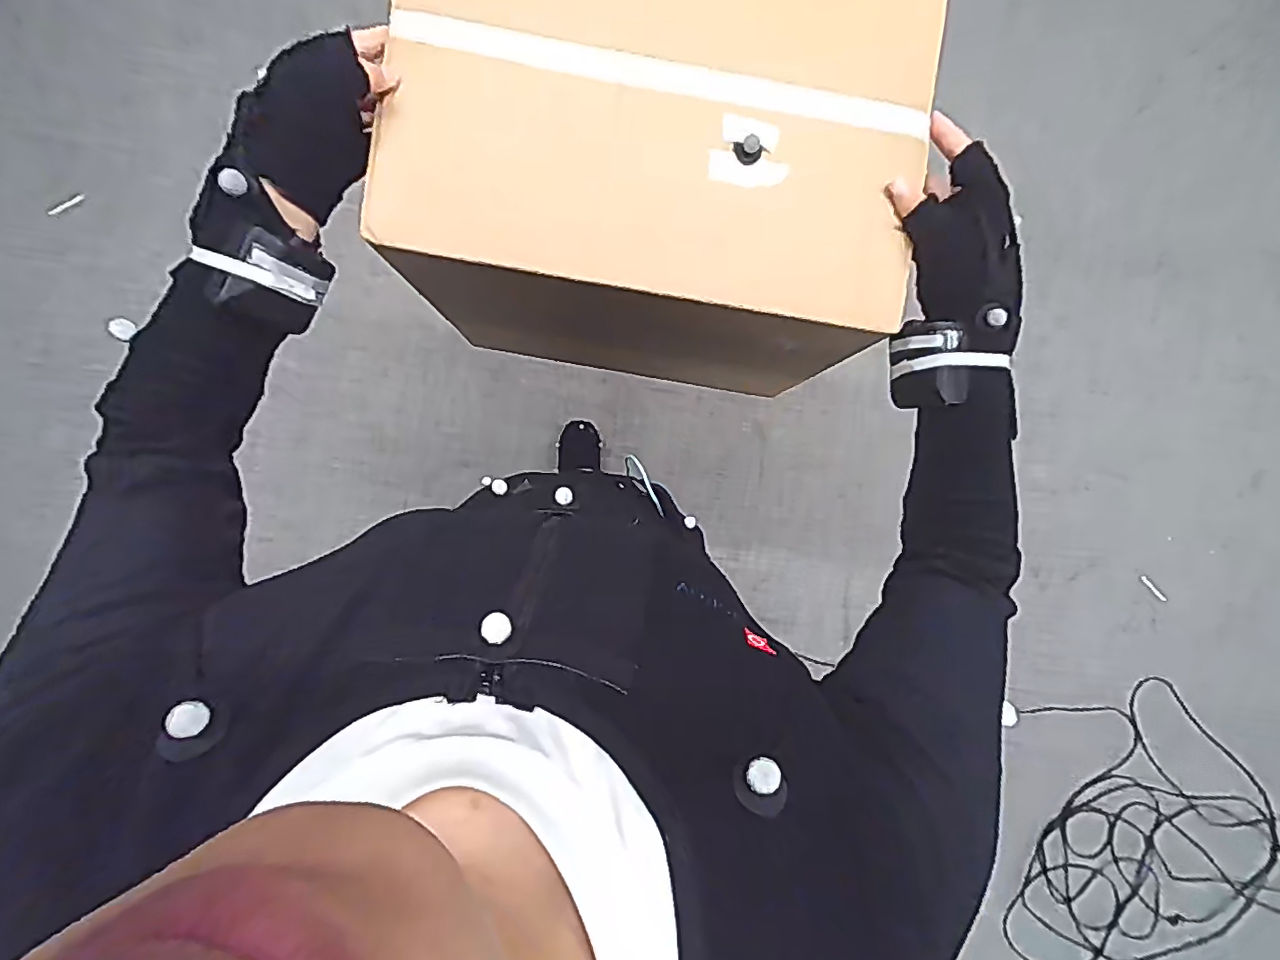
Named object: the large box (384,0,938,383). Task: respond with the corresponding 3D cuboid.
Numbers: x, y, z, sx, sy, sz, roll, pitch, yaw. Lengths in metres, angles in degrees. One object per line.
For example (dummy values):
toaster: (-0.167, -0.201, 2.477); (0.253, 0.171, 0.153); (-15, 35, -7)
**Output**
large box: (0.014, -0.304, 0.561); (0.408, 0.320, 0.320); (9, 90, -3)
